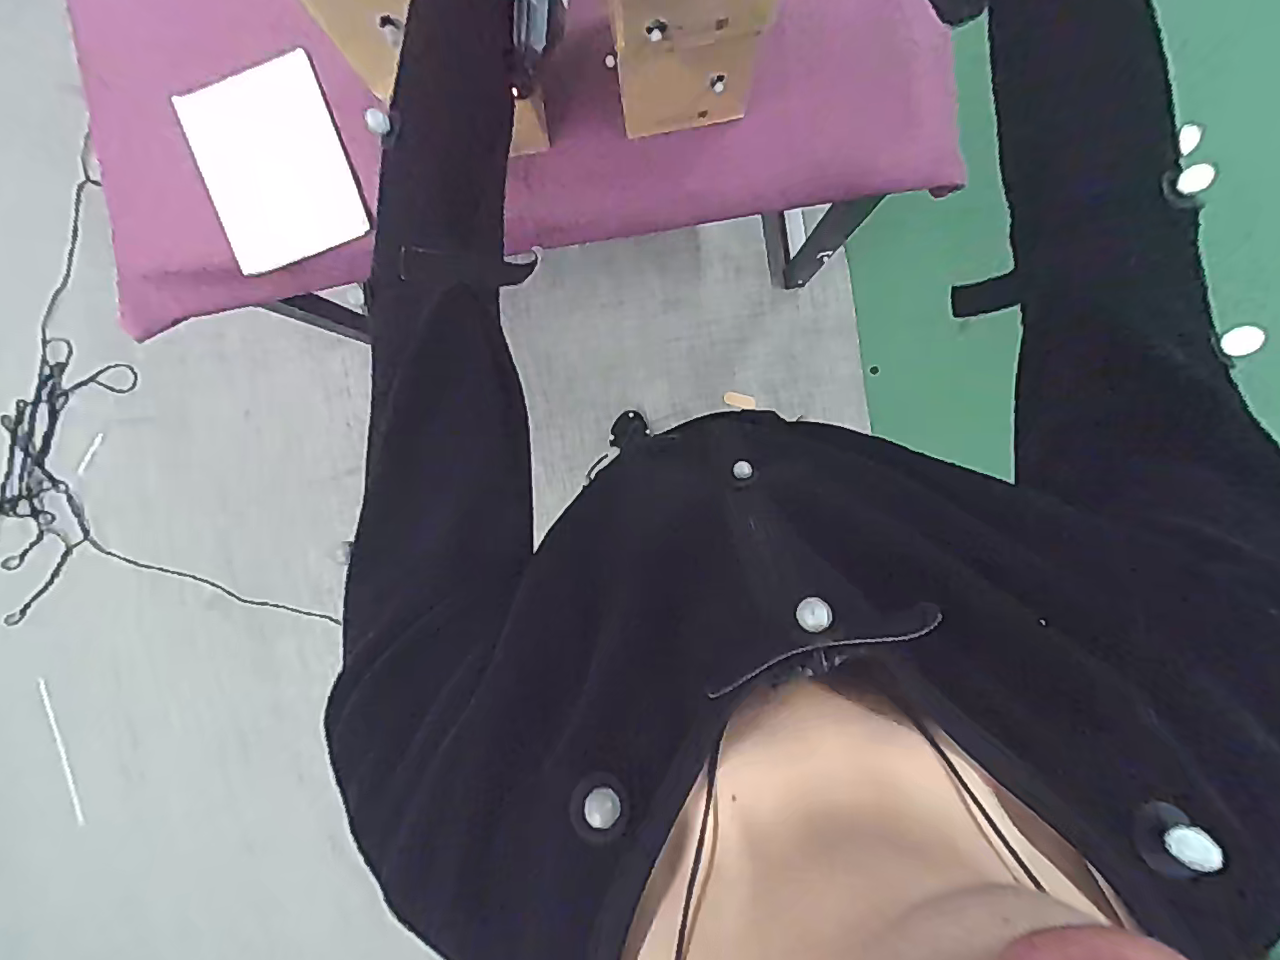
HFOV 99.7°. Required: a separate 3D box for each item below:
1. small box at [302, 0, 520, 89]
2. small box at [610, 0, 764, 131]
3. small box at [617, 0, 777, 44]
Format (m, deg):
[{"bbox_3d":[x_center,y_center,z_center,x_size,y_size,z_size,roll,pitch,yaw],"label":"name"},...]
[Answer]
[{"bbox_3d":[-0.222,-0.515,0.518,0.168,0.176,0.179,-8,91,2],"label":"small box"},{"bbox_3d":[0.050,-0.567,0.671,0.168,0.176,0.179,-8,92,1],"label":"small box"},{"bbox_3d":[0.051,-0.557,0.508,0.168,0.176,0.179,-9,91,1],"label":"small box"}]
